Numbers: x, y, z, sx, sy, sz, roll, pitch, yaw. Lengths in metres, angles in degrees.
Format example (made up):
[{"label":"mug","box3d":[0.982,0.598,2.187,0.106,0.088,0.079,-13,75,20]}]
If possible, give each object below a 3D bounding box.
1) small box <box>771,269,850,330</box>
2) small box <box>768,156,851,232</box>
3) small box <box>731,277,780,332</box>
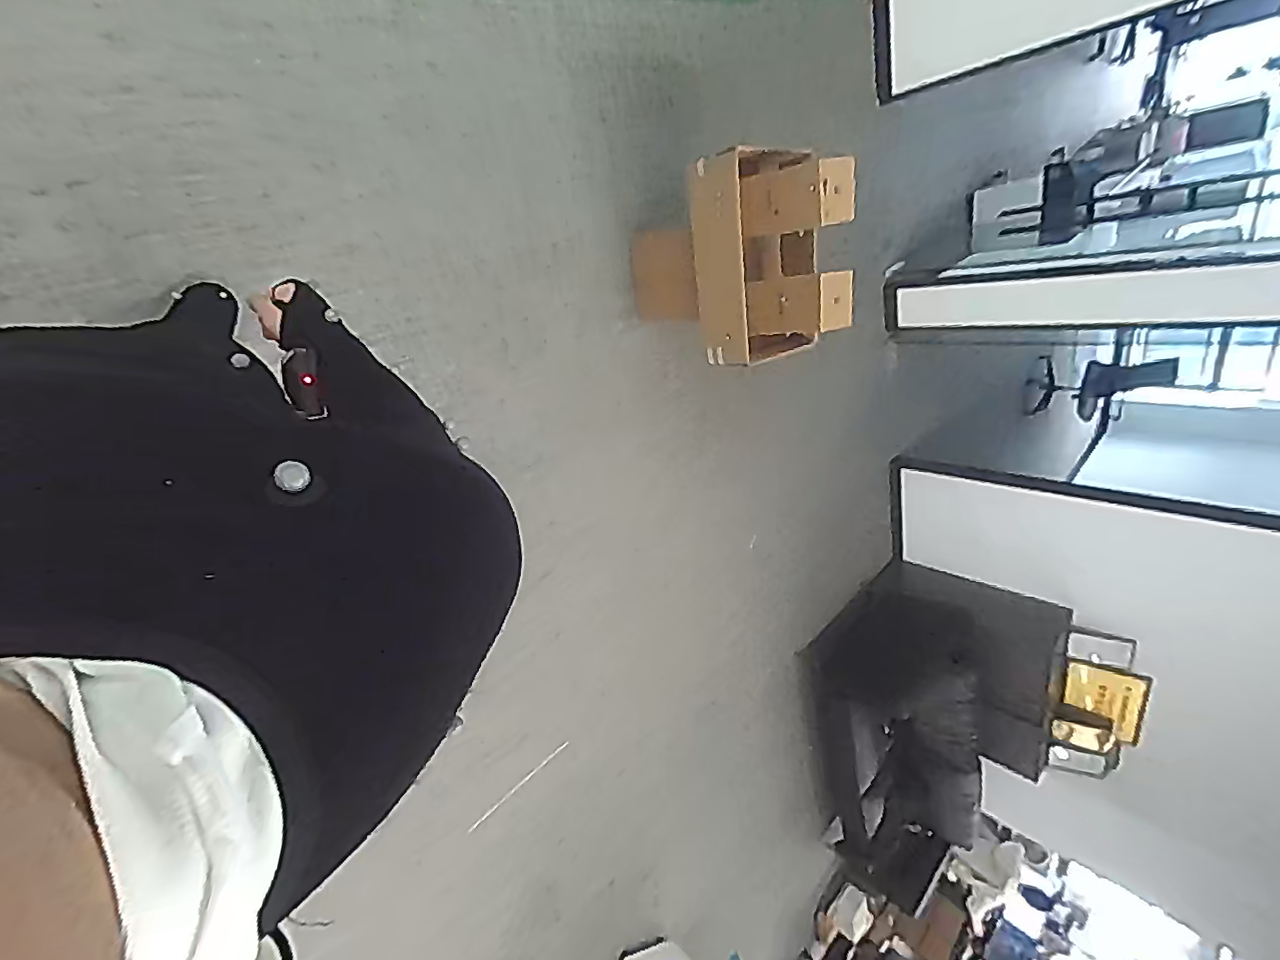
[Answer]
[{"label":"small box","box3d":[0.527,-0.559,1.675,0.179,0.176,0.168,-20,114,-37]},{"label":"small box","box3d":[0.493,-0.829,1.570,0.179,0.176,0.168,-27,118,-34]},{"label":"small box","box3d":[0.421,-0.586,1.796,0.179,0.176,0.168,-19,113,-37]}]
